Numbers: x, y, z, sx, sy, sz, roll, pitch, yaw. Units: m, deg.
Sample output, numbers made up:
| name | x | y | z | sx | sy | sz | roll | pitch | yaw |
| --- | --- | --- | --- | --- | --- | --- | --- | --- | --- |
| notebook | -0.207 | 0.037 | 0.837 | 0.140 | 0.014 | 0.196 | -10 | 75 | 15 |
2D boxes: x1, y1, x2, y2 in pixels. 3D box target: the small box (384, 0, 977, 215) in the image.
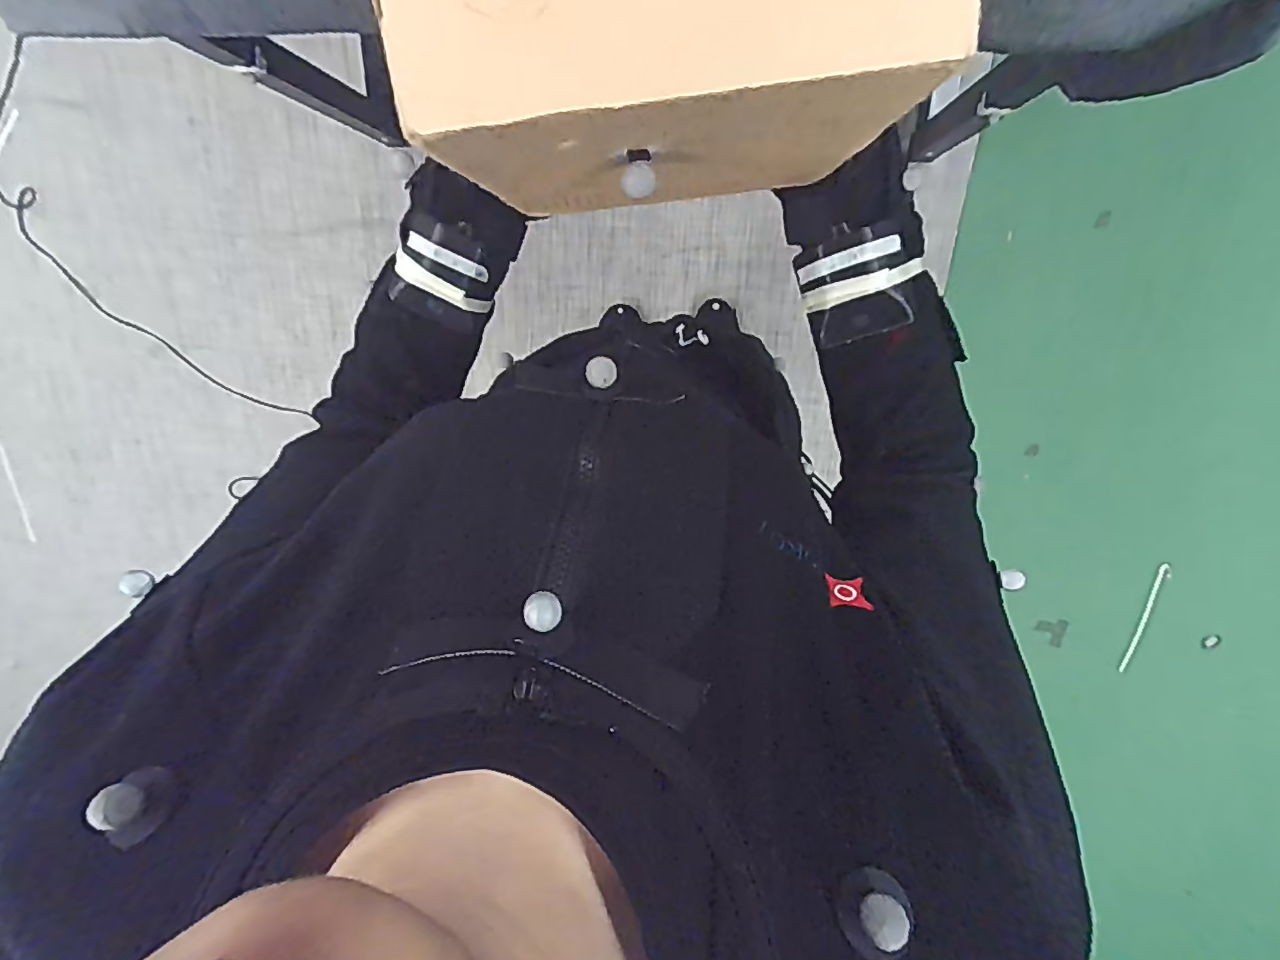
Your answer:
| name | x | y | z | sx | sy | sz | roll | pitch | yaw |
| --- | --- | --- | --- | --- | --- | --- | --- | --- | --- |
| small box | 0.008 | -0.216 | 0.218 | 0.179 | 0.176 | 0.168 | -5 | 108 | 5 |
